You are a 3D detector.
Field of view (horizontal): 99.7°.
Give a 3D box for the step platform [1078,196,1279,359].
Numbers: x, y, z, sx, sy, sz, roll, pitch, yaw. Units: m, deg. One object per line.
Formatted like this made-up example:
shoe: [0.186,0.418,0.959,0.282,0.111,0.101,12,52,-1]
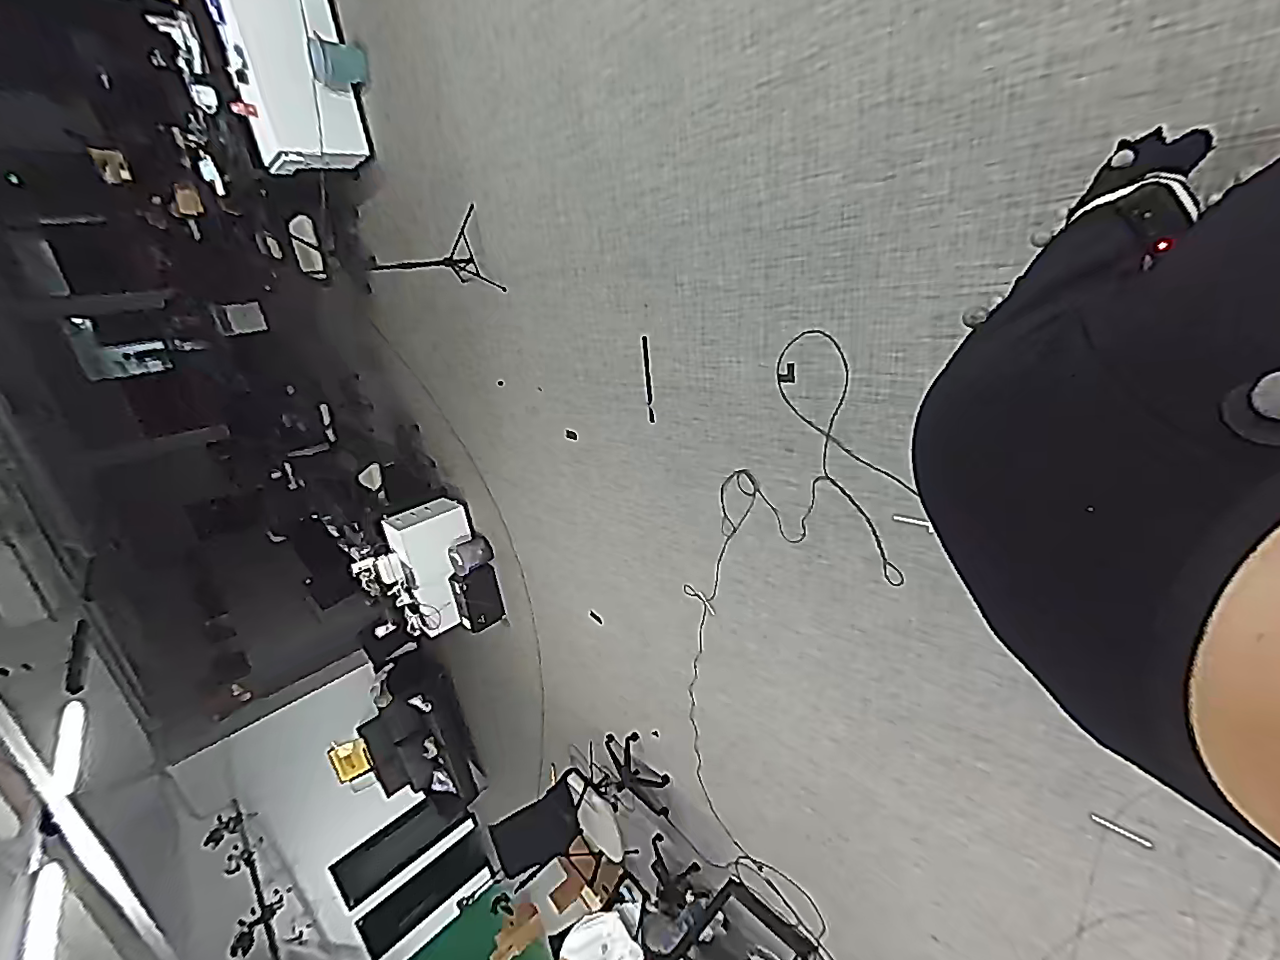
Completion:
step platform: [1.221,-0.372,0.967,0.684,0.204,0.286,12,118,45]
